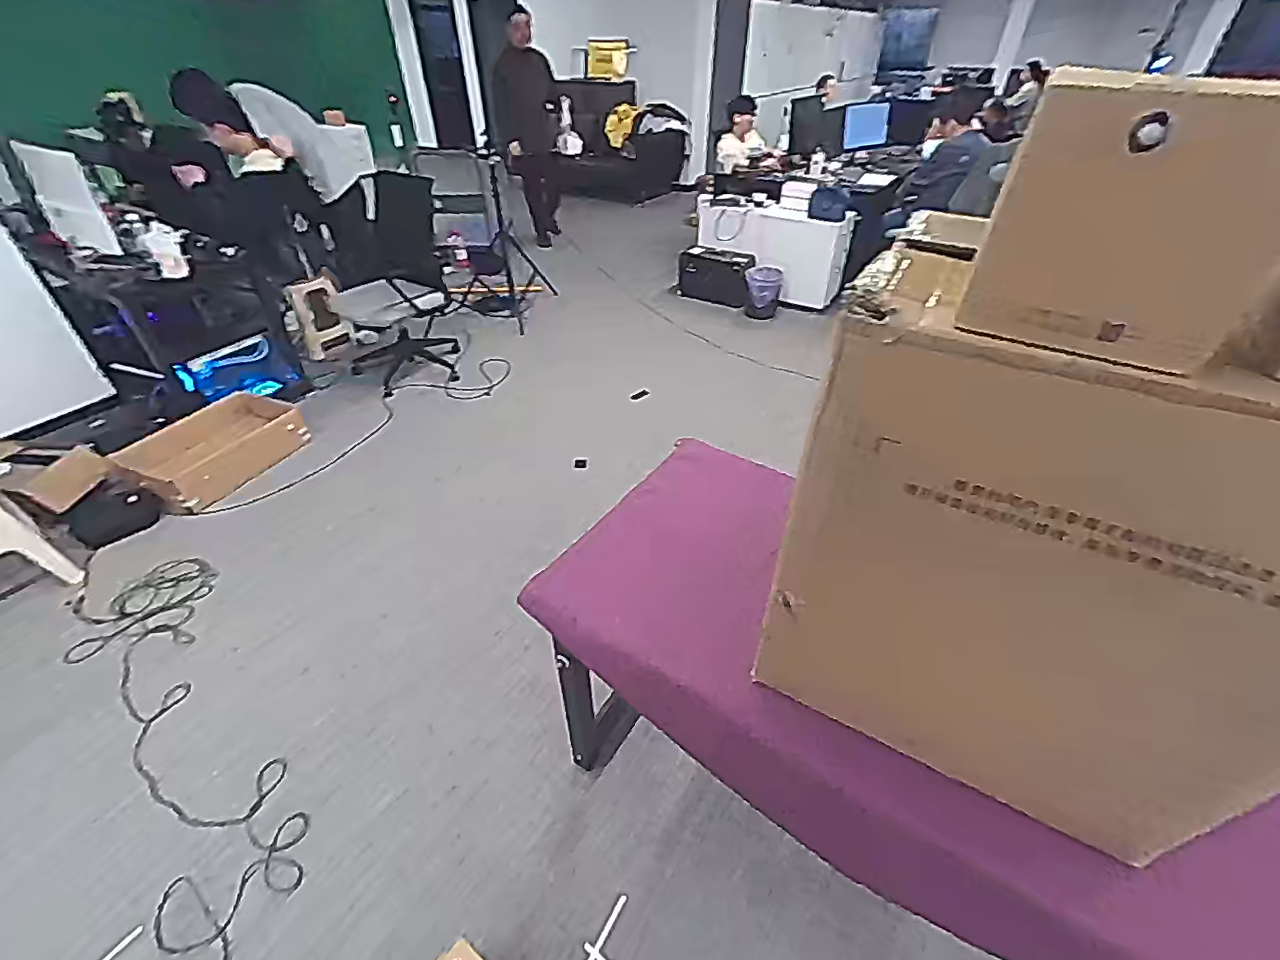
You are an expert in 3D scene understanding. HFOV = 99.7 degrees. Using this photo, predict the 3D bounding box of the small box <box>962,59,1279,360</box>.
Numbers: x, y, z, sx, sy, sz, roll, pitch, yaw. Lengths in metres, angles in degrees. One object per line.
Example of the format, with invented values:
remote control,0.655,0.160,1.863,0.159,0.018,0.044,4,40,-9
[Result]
small box,0.376,-0.216,0.421,0.168,0.176,0.179,21,43,24
